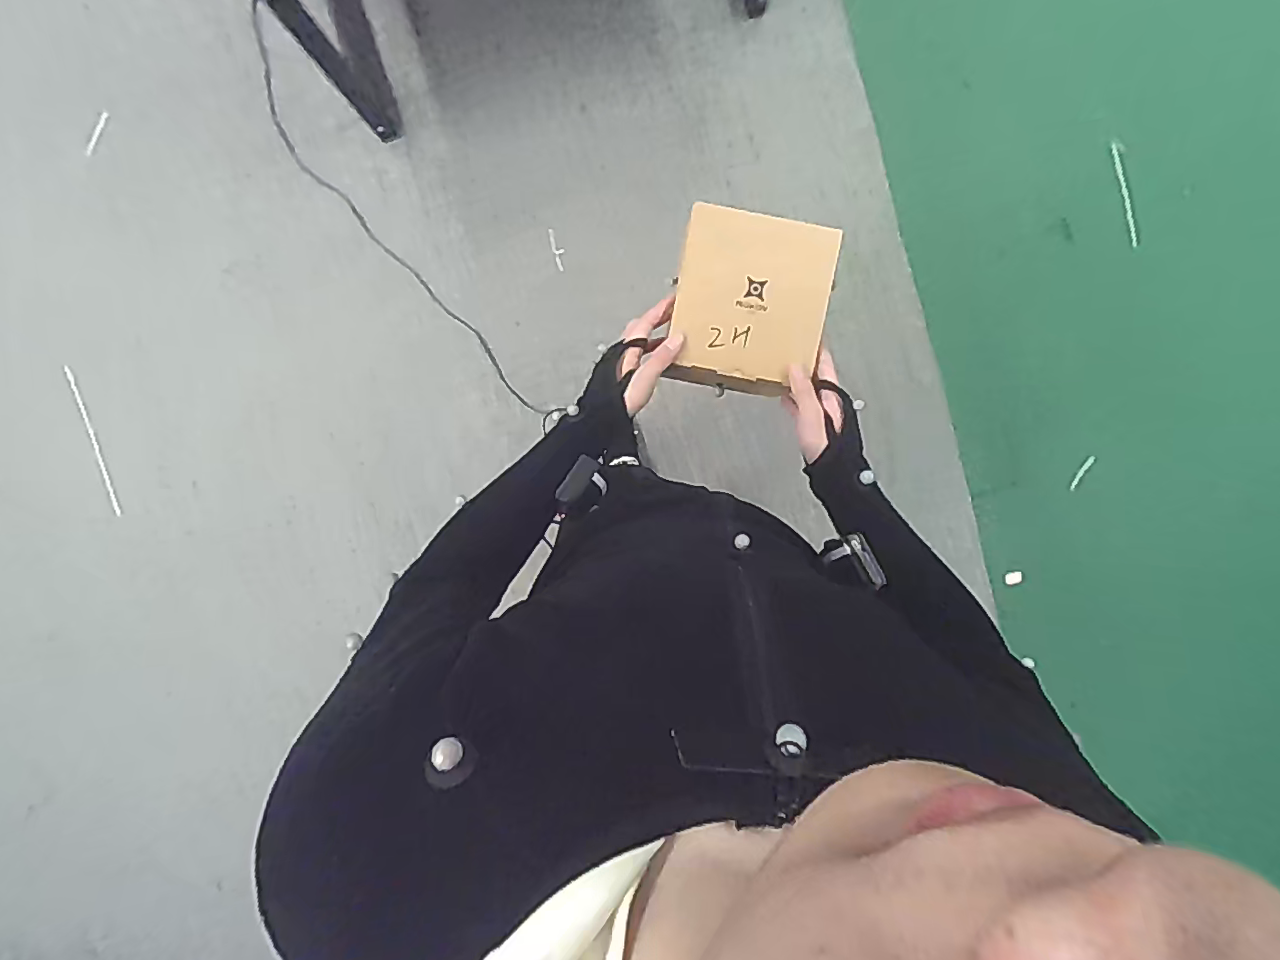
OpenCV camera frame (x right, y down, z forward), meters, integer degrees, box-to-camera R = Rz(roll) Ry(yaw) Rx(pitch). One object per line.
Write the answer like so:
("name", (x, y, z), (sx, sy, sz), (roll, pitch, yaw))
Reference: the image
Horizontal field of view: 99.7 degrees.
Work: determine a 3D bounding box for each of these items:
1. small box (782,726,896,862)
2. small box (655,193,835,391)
("small box", (0.420, 0.667, 1.165), (0.168, 0.176, 0.179), (-14, 93, 1))
("small box", (0.114, -0.214, 0.664), (0.168, 0.176, 0.179), (10, 96, -2))
